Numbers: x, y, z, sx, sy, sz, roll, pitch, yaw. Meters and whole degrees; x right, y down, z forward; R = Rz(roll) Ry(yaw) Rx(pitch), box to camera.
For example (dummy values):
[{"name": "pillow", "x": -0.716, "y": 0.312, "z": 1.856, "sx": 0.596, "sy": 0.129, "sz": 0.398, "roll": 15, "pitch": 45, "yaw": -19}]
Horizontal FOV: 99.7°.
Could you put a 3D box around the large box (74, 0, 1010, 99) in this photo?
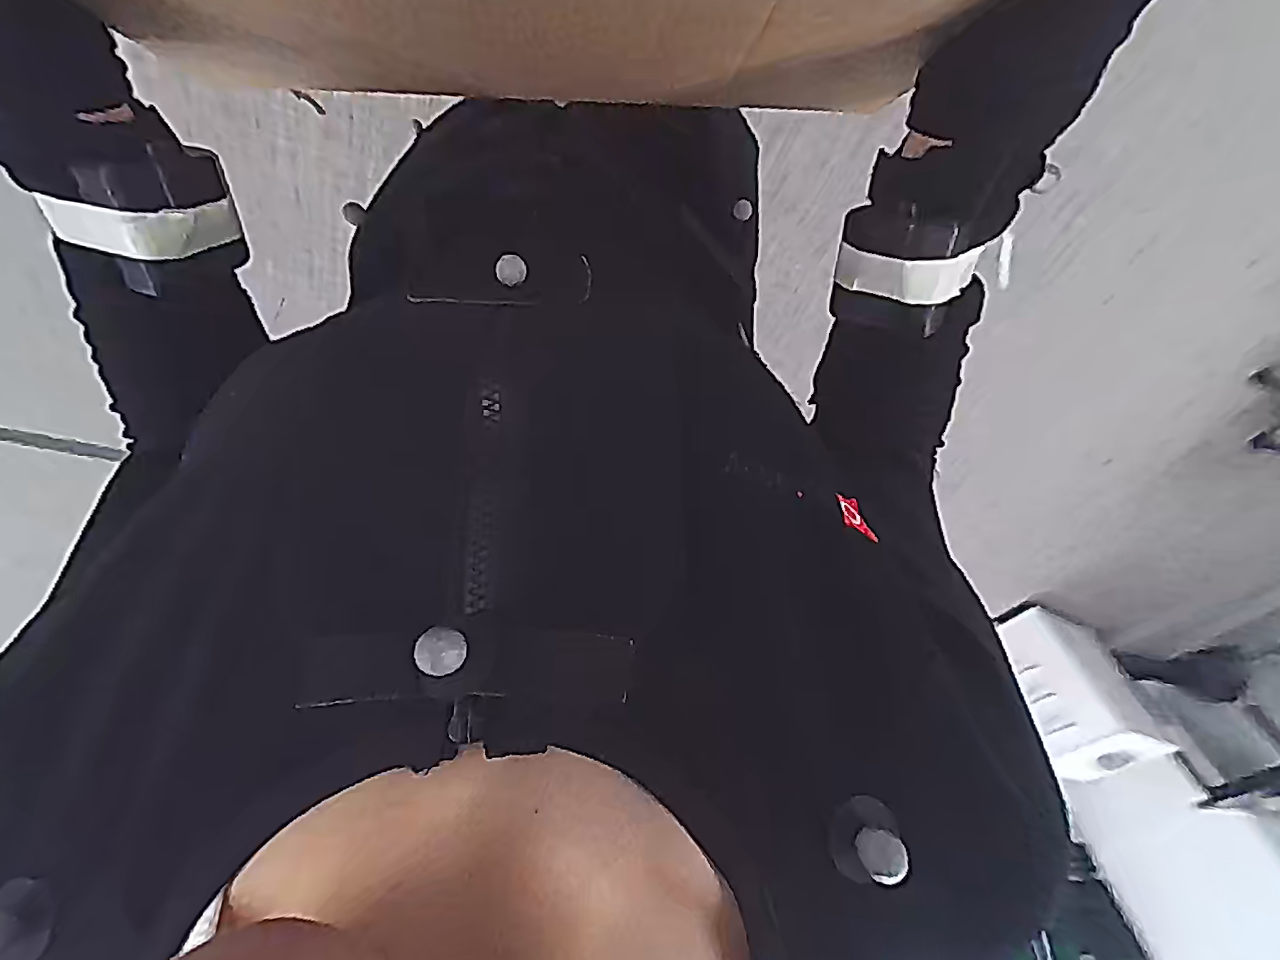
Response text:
[{"name": "large box", "x": -0.041, "y": -0.339, "z": 0.145, "sx": 0.408, "sy": 0.320, "sz": 0.320, "roll": -1, "pitch": 108, "yaw": -3}]
